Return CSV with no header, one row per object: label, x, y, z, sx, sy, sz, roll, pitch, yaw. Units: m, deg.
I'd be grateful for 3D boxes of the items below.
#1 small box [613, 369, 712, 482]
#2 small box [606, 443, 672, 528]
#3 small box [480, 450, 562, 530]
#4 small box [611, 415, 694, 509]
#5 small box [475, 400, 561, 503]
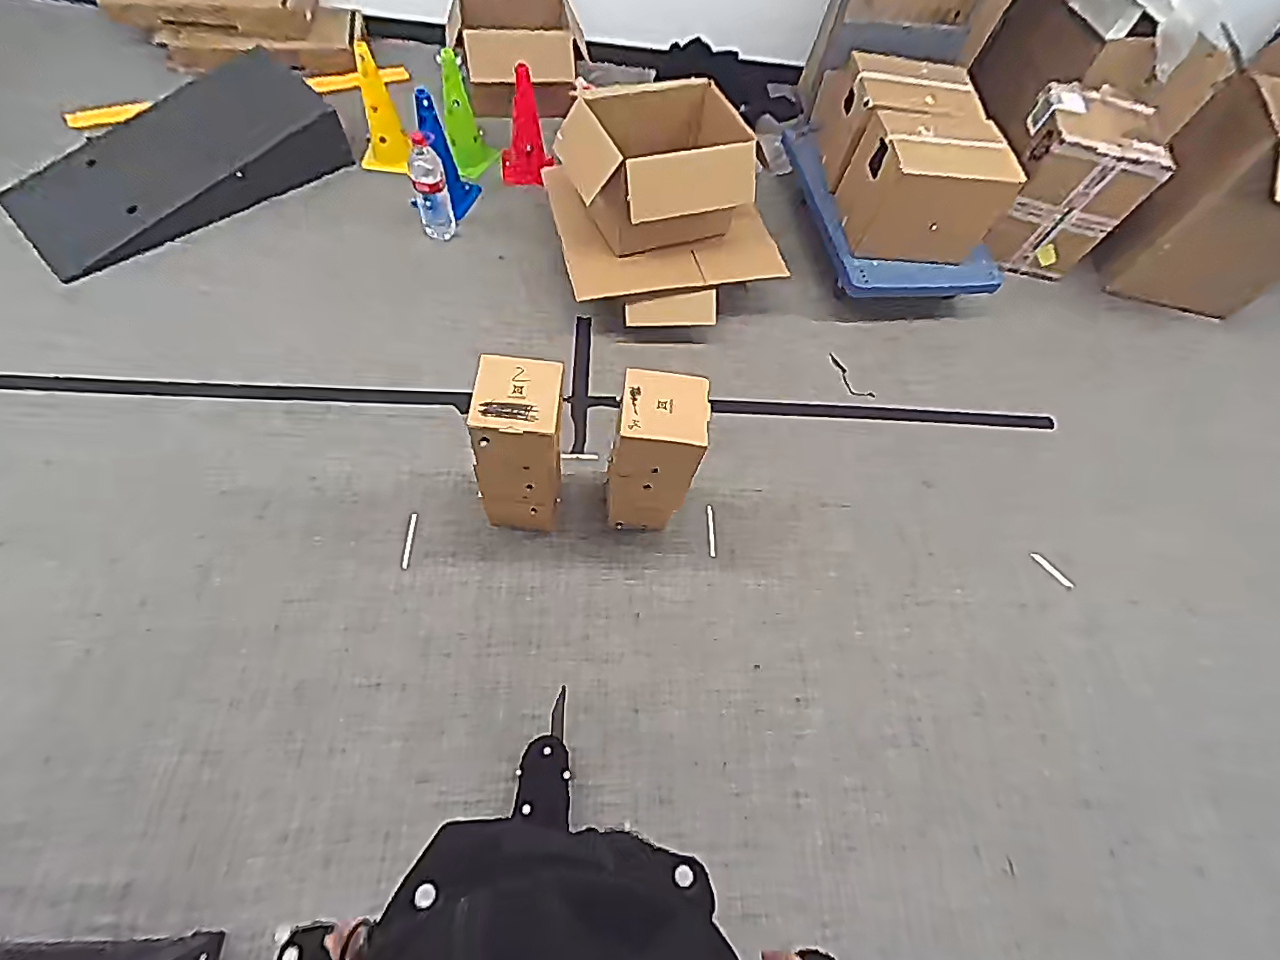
small box,0.045,-0.107,1.144,0.179,0.176,0.168,7,63,-6
small box,-0.001,0.020,1.444,0.168,0.176,0.179,2,63,-7
small box,-0.302,0.020,1.404,0.179,0.176,0.168,7,63,-4
small box,0.025,-0.038,1.291,0.179,0.176,0.168,4,64,-7
small box,-0.278,-0.059,1.265,0.168,0.176,0.179,7,62,-6
